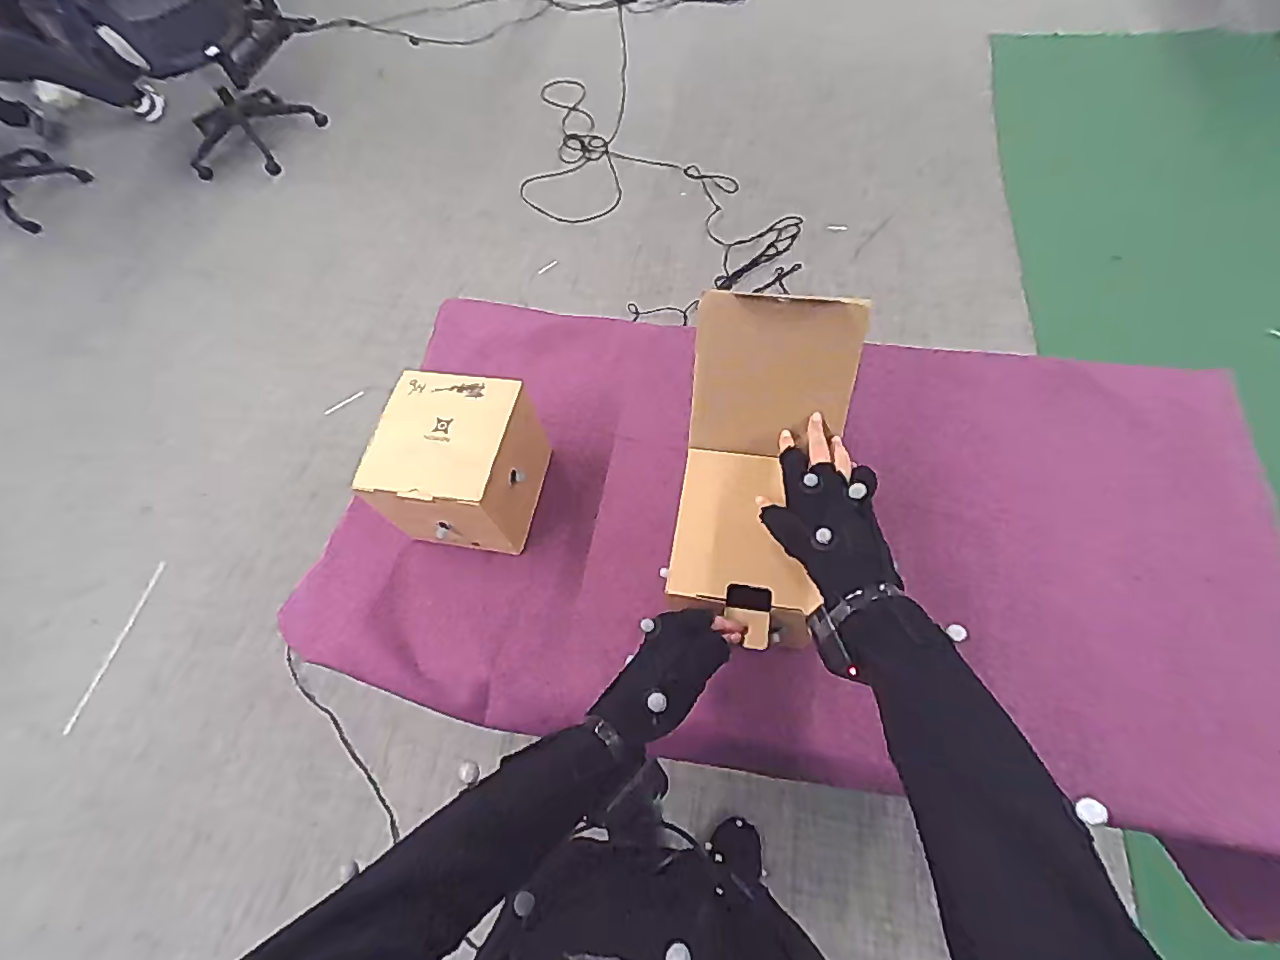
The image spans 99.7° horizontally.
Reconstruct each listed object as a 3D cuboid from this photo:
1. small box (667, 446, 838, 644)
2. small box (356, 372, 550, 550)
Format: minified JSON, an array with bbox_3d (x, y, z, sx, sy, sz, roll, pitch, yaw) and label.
[{"bbox_3d":[0.129,0.083,0.635,0.168,0.176,0.179,7,63,9],"label":"small box"},{"bbox_3d":[-0.232,-0.019,0.725,0.168,0.176,0.179,7,64,9],"label":"small box"}]
